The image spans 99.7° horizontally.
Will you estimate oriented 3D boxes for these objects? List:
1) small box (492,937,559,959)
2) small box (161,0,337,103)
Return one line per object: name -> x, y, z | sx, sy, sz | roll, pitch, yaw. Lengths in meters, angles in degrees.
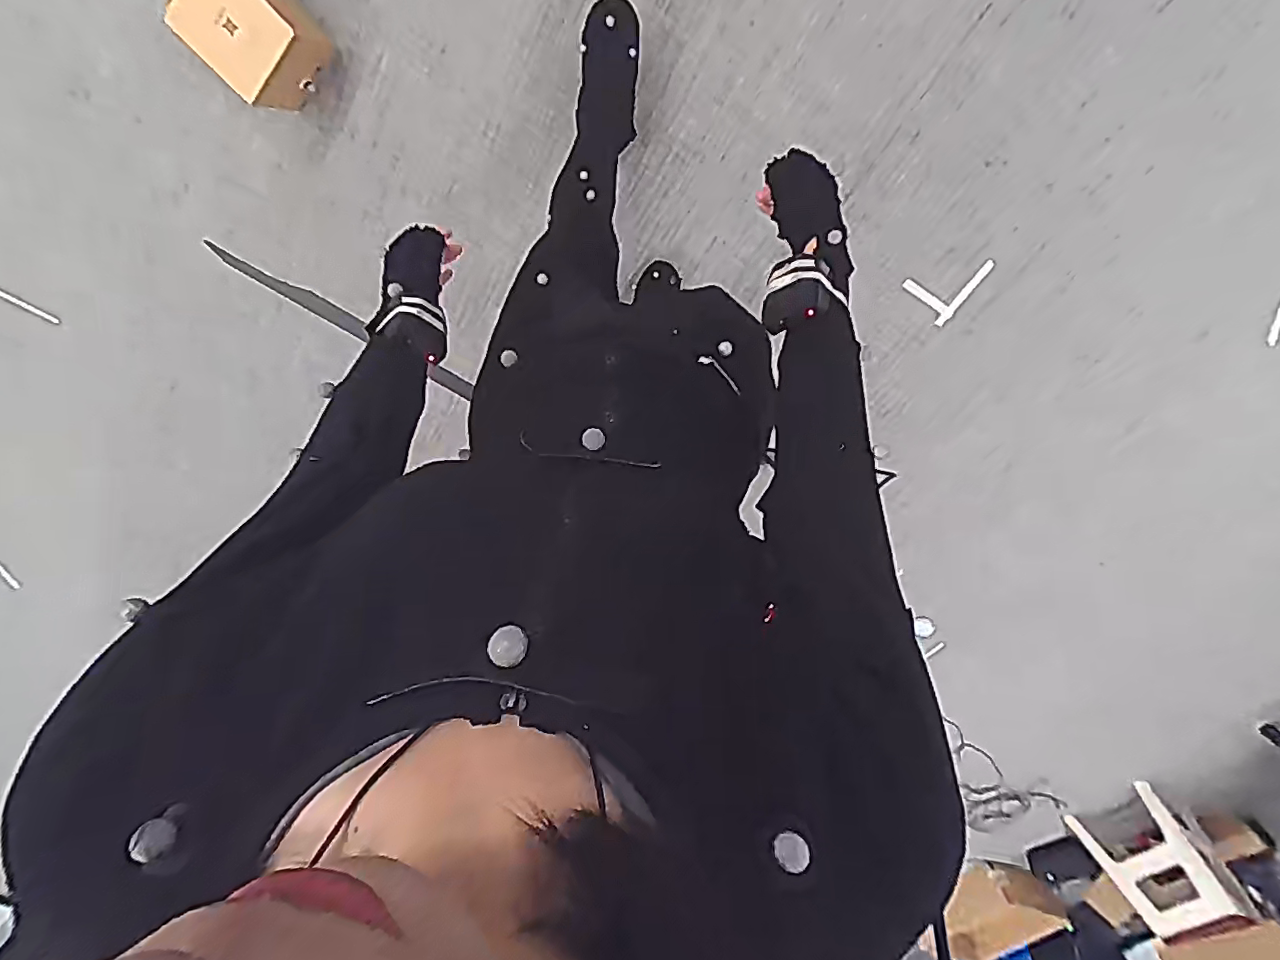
small box -> -0.333, 1.412, 1.497 | 0.168, 0.176, 0.179 | 21, 119, -11
small box -> -0.724, -0.852, 1.022 | 0.168, 0.176, 0.179 | -37, 114, 21
